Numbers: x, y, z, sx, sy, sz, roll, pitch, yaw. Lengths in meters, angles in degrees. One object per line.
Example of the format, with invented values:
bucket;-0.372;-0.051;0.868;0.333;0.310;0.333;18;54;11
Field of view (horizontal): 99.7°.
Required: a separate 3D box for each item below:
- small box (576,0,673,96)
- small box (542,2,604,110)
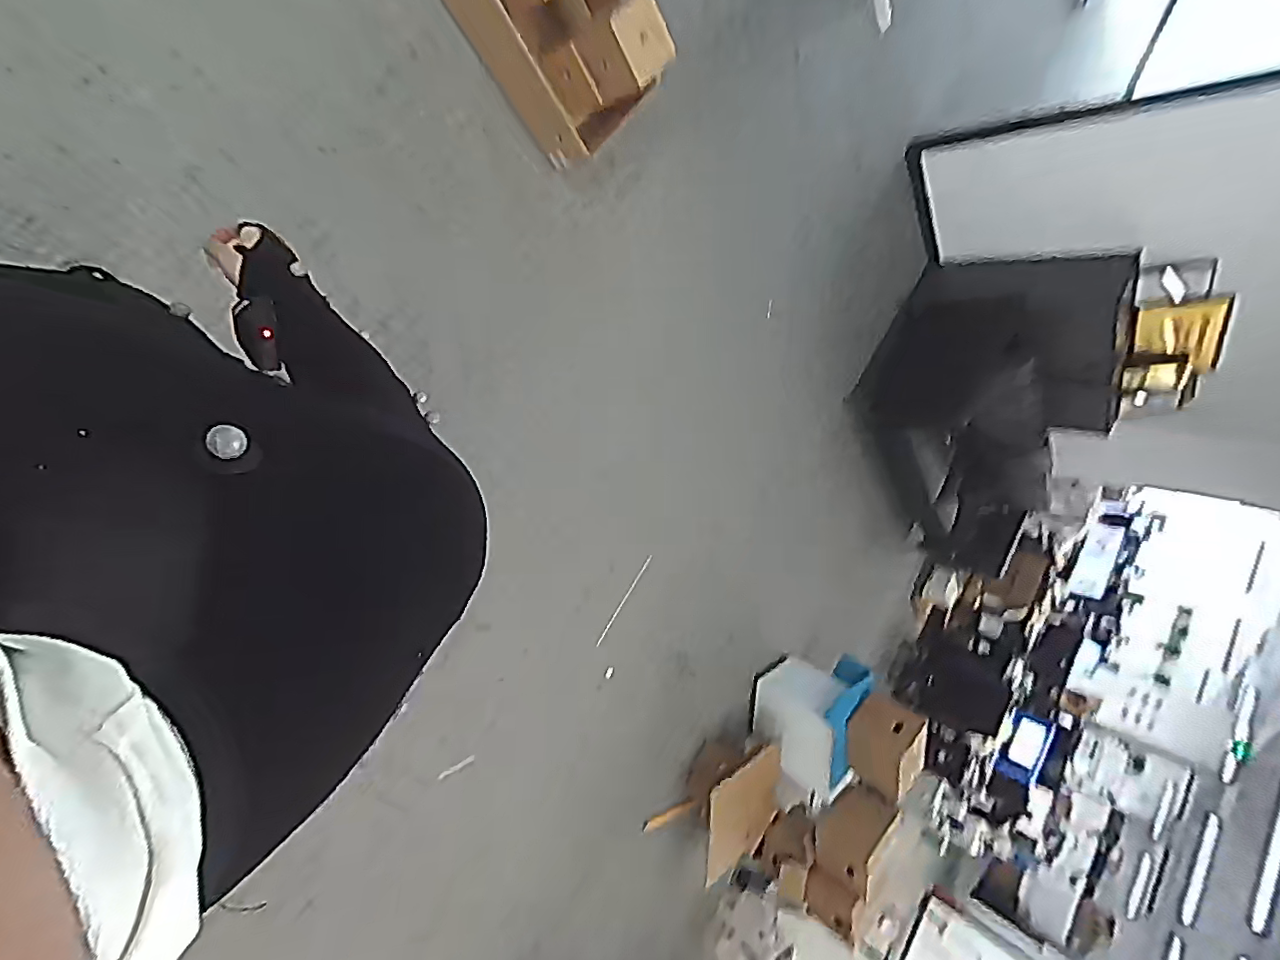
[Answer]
small box;-0.050;-1.190;1.467;0.179;0.176;0.168;-55;133;-16
small box;-0.163;-1.228;1.582;0.179;0.176;0.168;-55;133;-15
